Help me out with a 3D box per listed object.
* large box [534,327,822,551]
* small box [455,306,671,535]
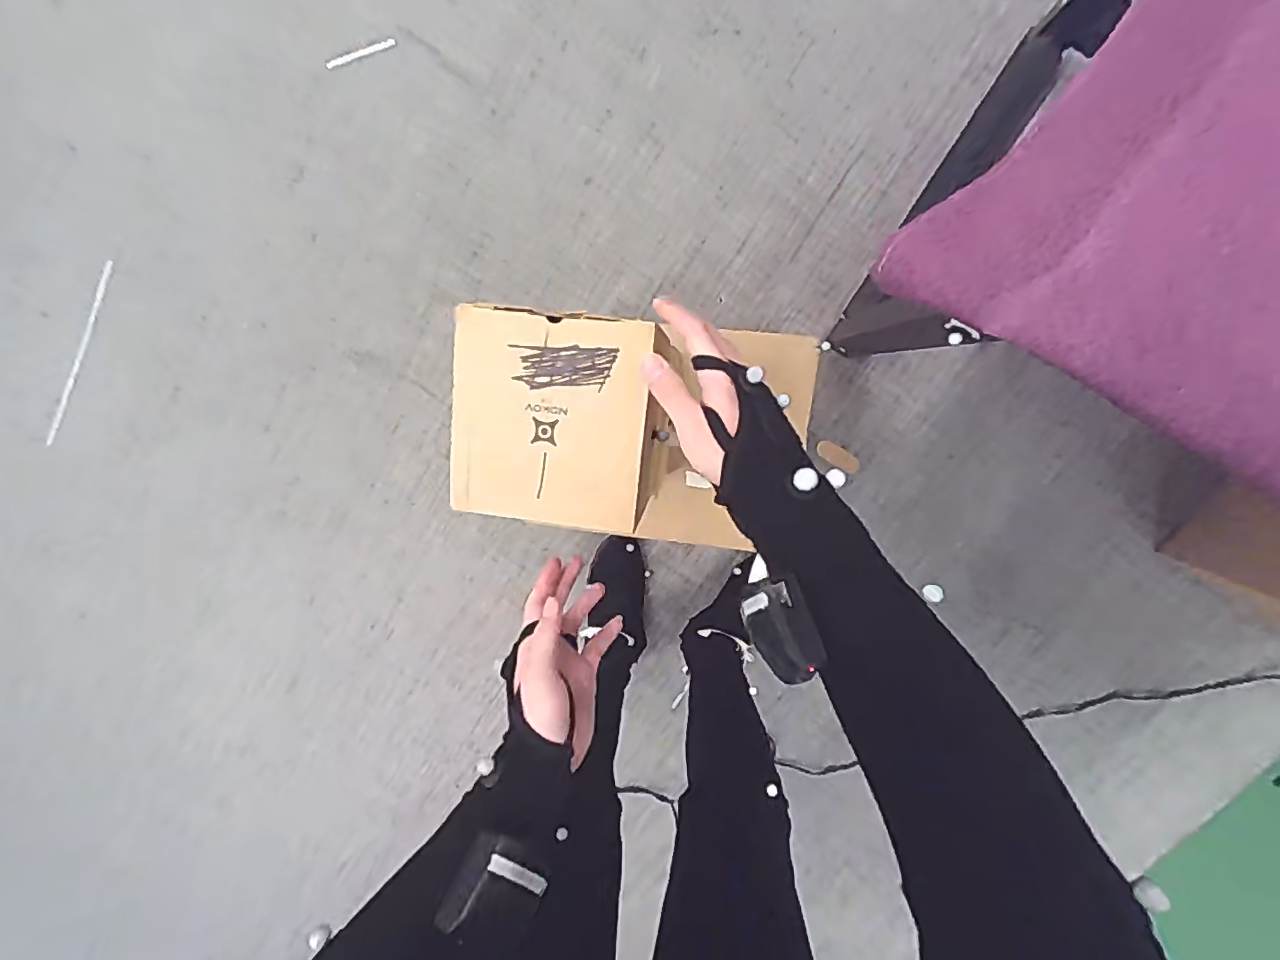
[{"bbox_3d":[0.056,-0.087,0.928,0.408,0.320,0.320,6,102,5],"label":"large box"},{"bbox_3d":[-0.062,-0.061,0.528,0.168,0.176,0.179,8,101,6],"label":"small box"}]
